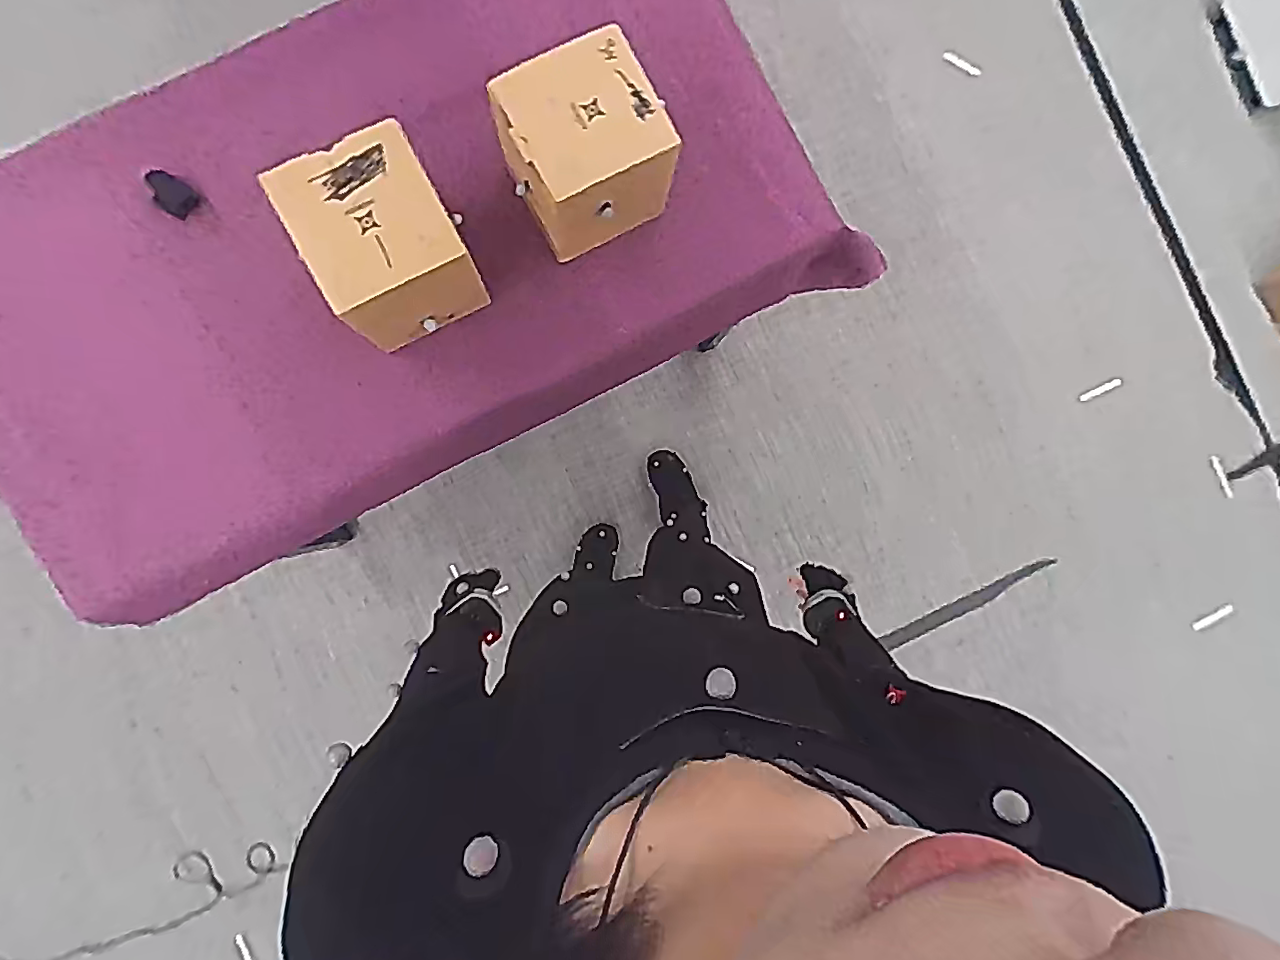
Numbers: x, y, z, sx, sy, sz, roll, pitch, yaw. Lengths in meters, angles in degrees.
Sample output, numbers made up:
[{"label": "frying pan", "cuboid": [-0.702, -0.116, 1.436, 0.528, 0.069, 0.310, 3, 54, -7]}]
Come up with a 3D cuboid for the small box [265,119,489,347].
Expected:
[{"label": "small box", "cuboid": [-0.315, -0.297, 0.687, 0.168, 0.176, 0.179, -28, 91, -6]}]

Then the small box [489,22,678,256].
[{"label": "small box", "cuboid": [-0.070, -0.432, 0.717, 0.179, 0.176, 0.168, -29, 91, -5]}]
